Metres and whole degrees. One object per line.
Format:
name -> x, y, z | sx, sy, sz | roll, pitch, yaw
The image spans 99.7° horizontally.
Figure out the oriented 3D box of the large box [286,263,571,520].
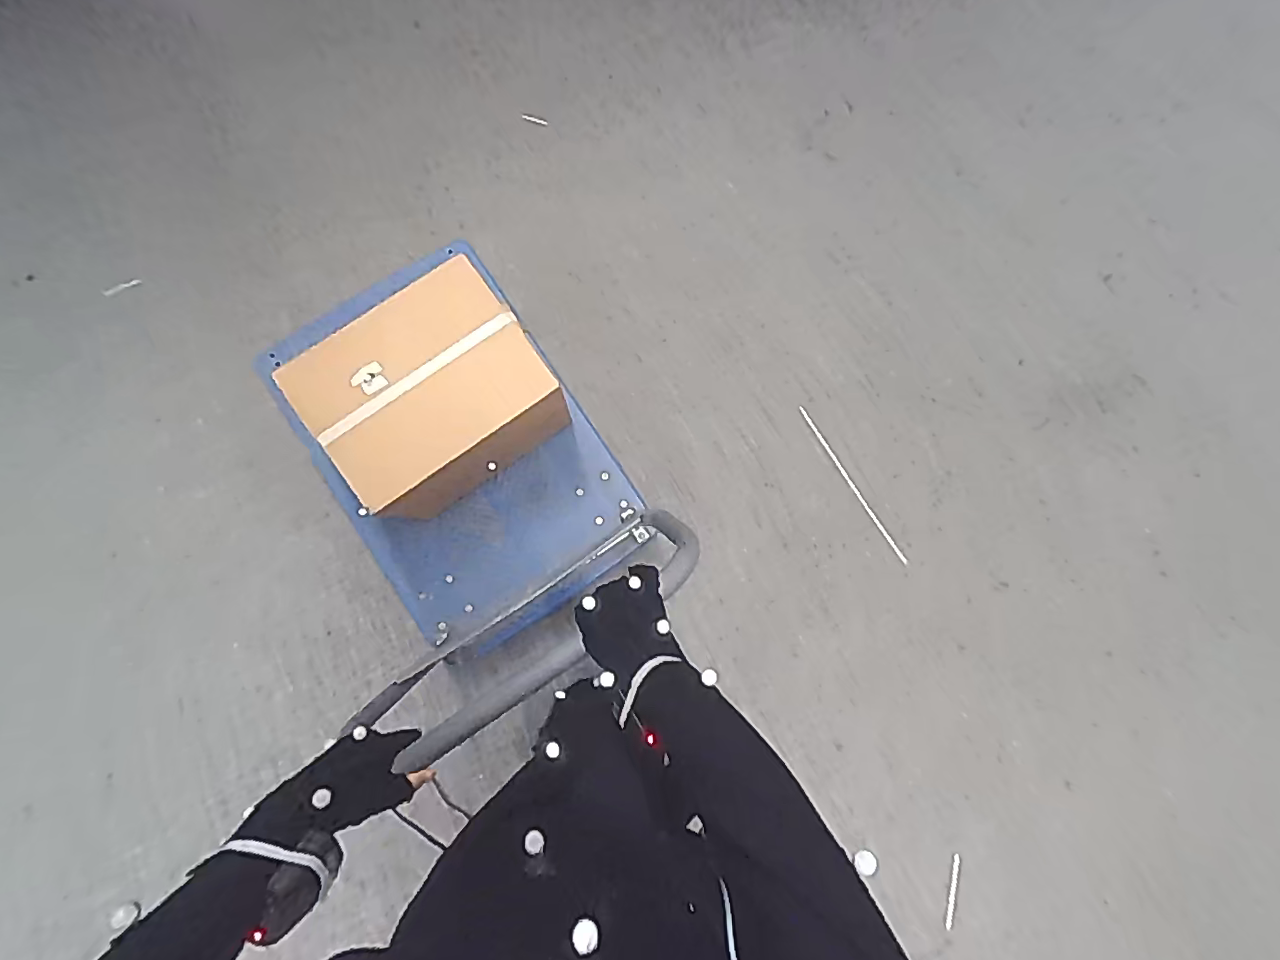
large box -> -0.399, -0.158, 1.131 | 0.408, 0.320, 0.320 | -37, 88, -5
